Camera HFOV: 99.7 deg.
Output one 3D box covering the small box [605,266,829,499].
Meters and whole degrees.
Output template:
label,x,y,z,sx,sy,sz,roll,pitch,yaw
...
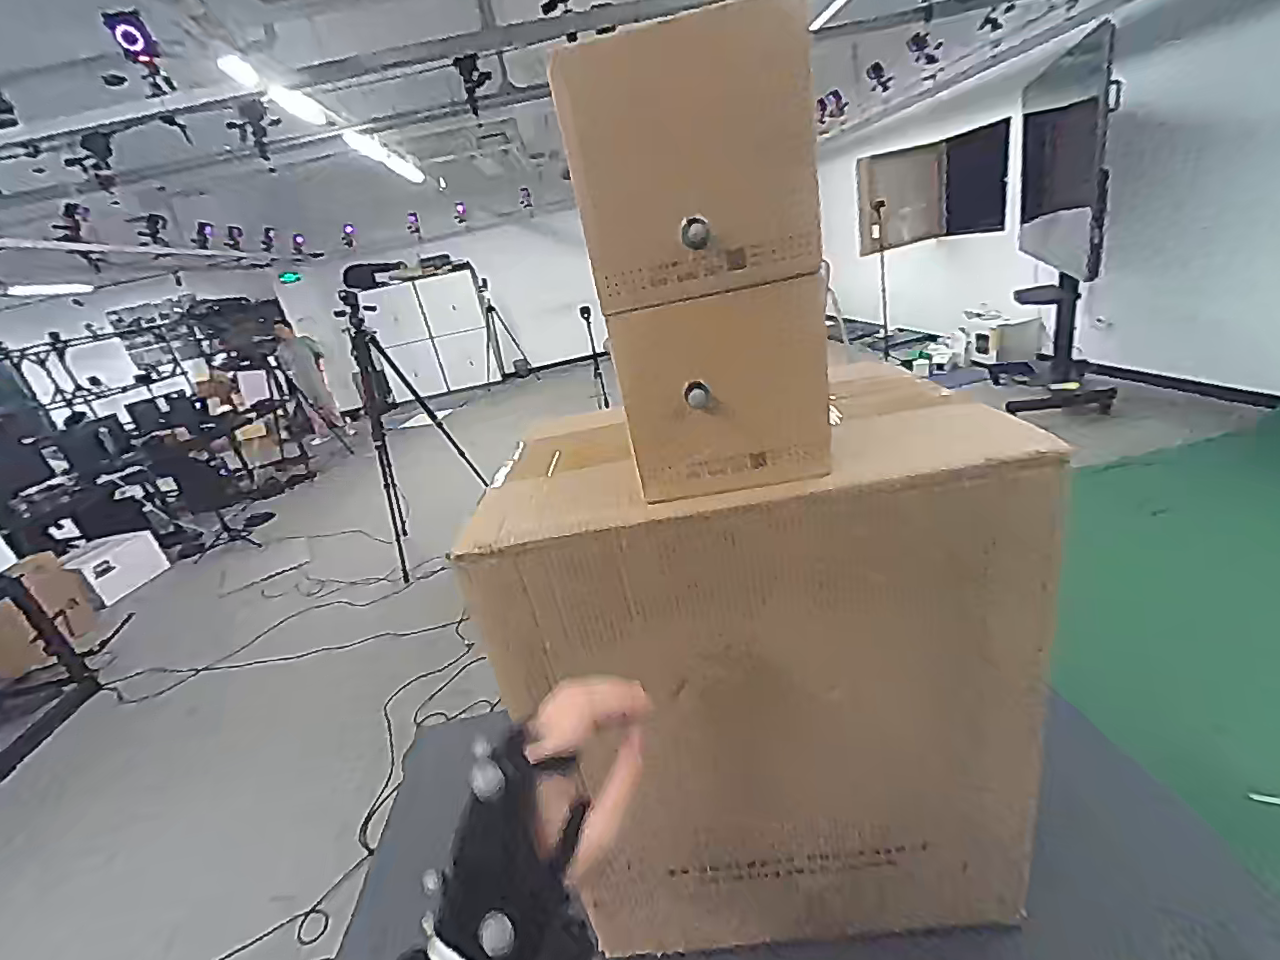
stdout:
label,x,y,z,sx,sy,sz,roll,pitch,yaw
small box,0.072,-0.091,0.509,0.168,0.176,0.179,-9,24,7
